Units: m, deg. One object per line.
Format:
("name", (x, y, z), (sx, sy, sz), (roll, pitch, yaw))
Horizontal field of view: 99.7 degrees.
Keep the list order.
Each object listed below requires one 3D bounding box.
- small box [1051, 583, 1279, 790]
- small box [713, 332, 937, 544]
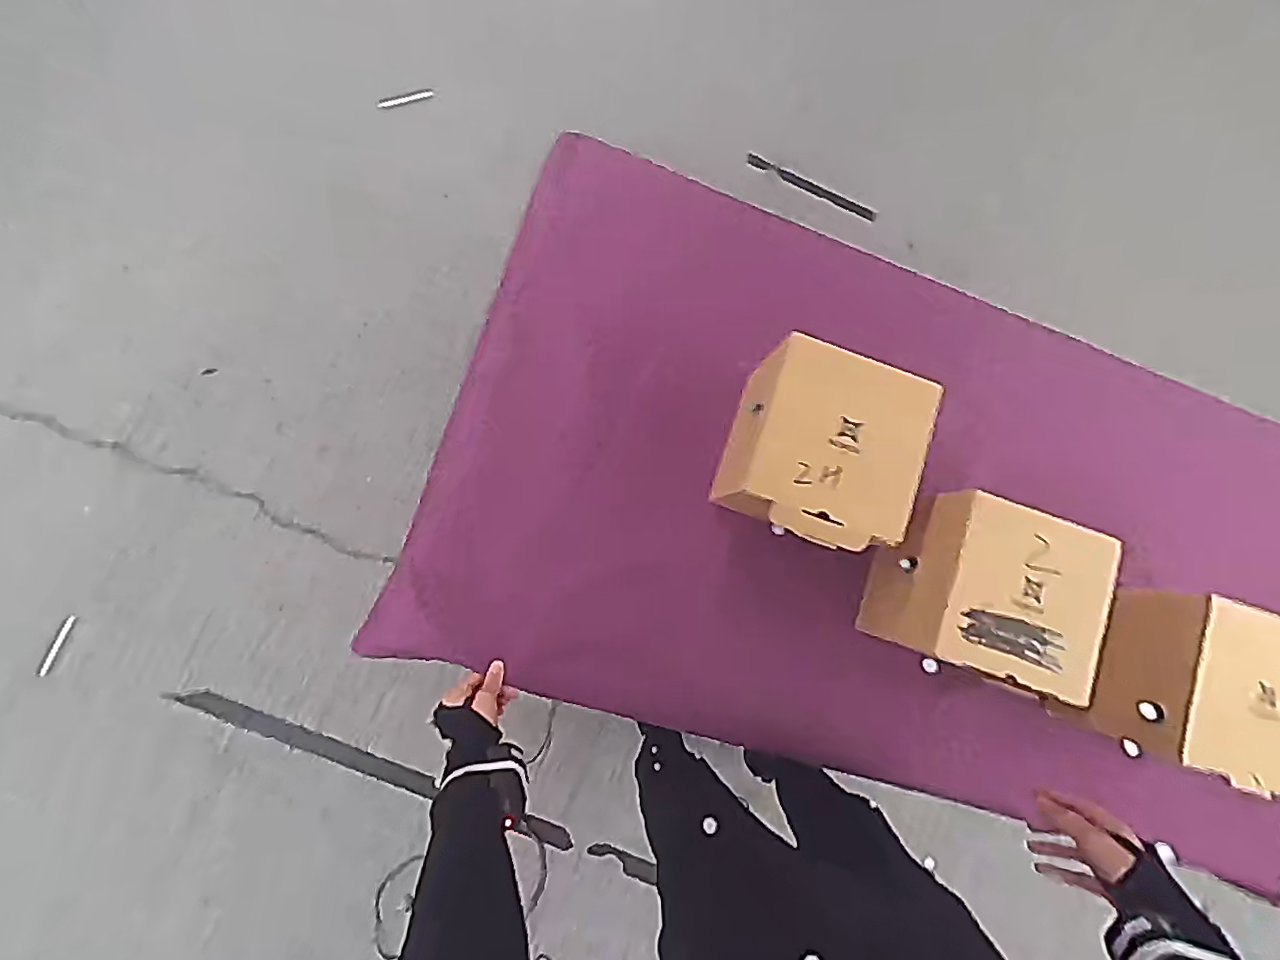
("small box", (0.630, 0.228, 0.631), (0.168, 0.176, 0.179), (18, 83, -3))
("small box", (0.196, -0.036, 0.620), (0.168, 0.176, 0.179), (19, 84, -2))
